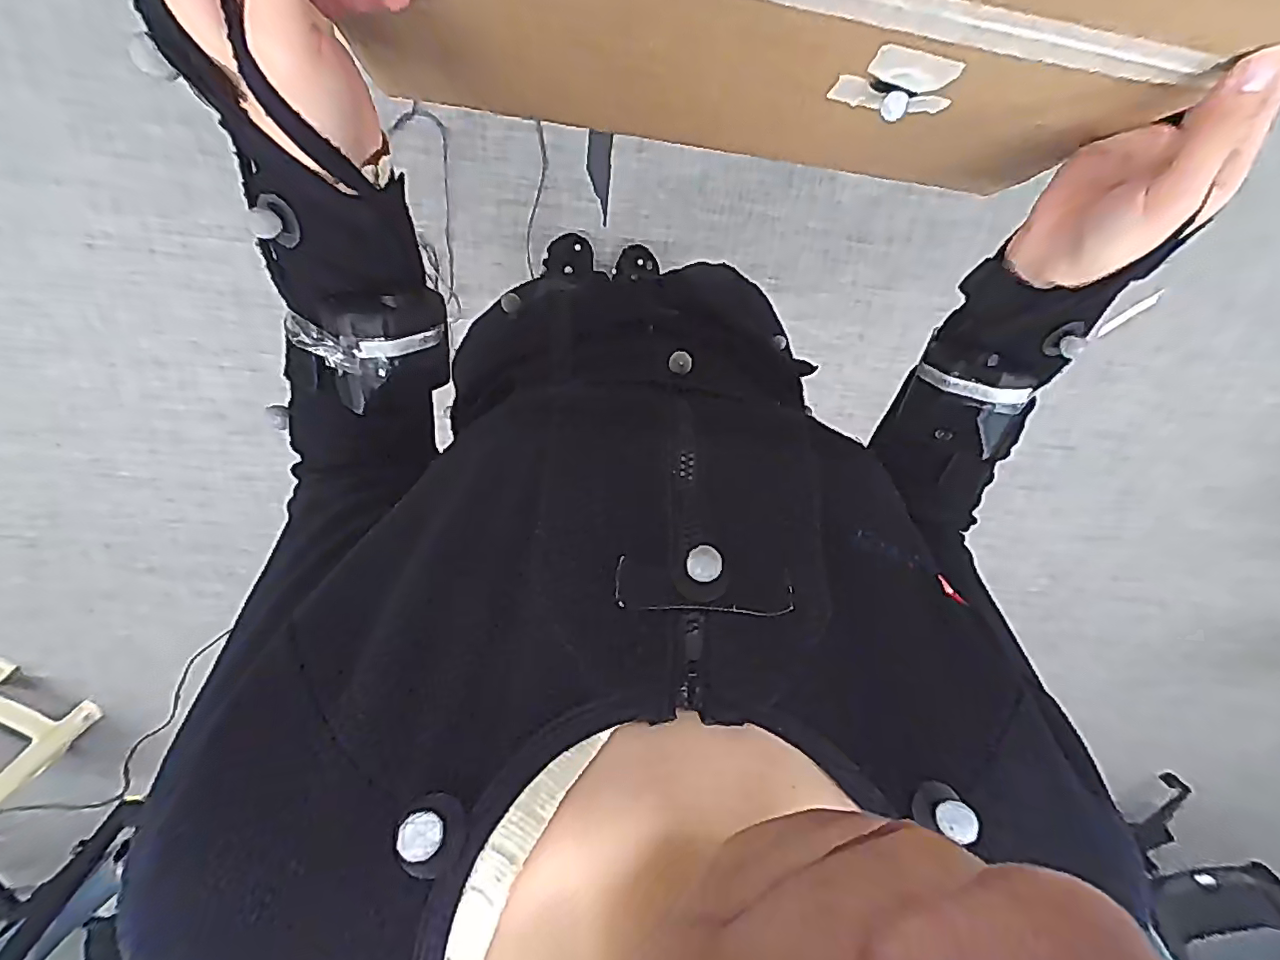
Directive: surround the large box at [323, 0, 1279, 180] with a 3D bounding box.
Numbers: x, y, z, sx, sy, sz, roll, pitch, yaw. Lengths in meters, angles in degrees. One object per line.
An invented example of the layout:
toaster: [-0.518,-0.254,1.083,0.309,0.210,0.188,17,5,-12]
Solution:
large box: [0.071,-0.343,0.181,0.408,0.320,0.320,3,101,-8]
